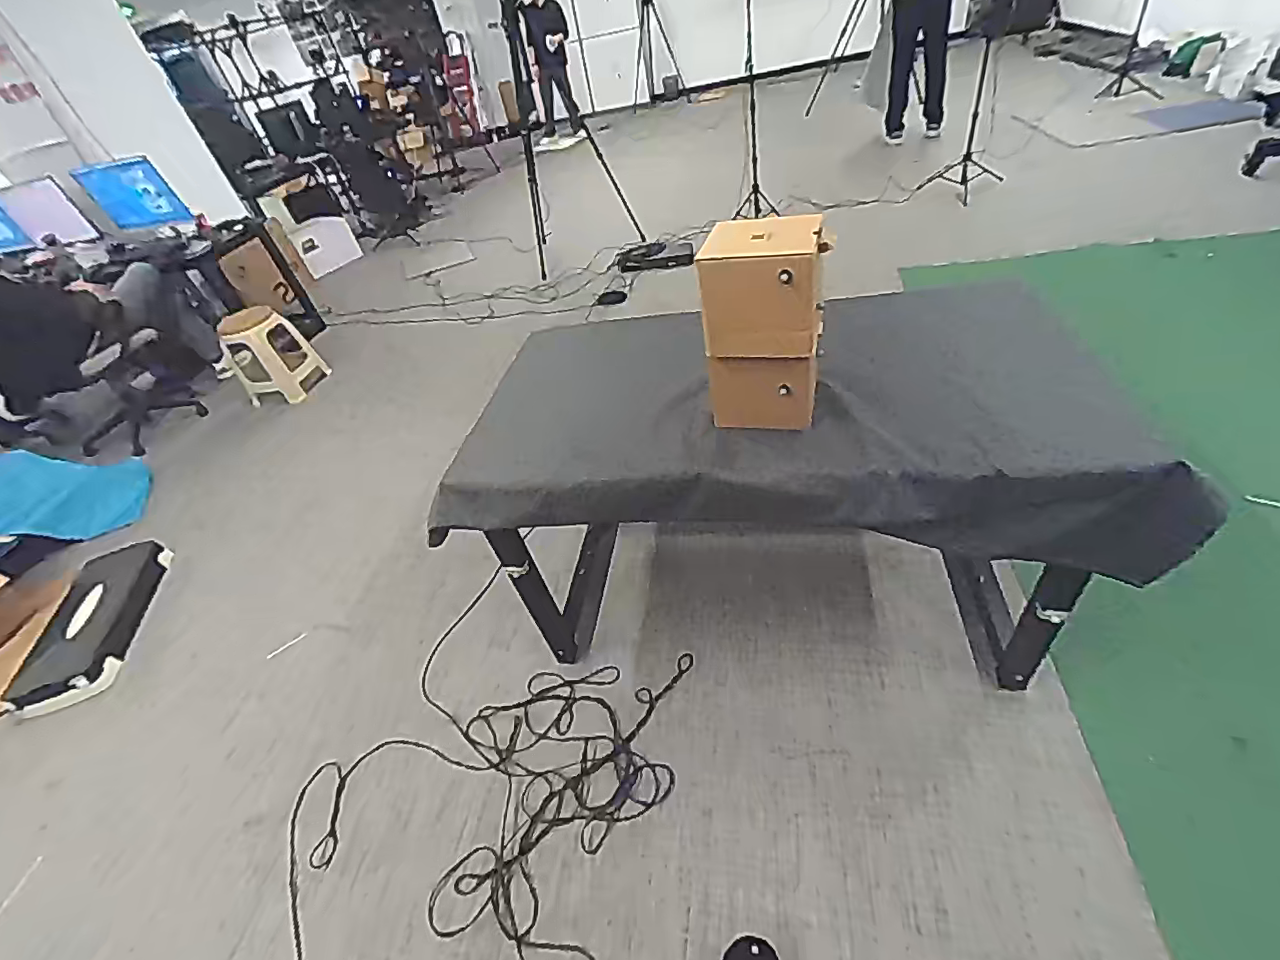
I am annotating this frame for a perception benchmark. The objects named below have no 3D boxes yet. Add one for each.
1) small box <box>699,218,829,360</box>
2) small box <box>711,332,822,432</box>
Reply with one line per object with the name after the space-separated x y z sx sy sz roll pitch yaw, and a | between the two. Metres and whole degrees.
0.207 -0.309 0.882 0.179 0.176 0.168 6 44 20 | small box
0.239 -0.203 1.003 0.179 0.176 0.168 4 43 20 | small box
